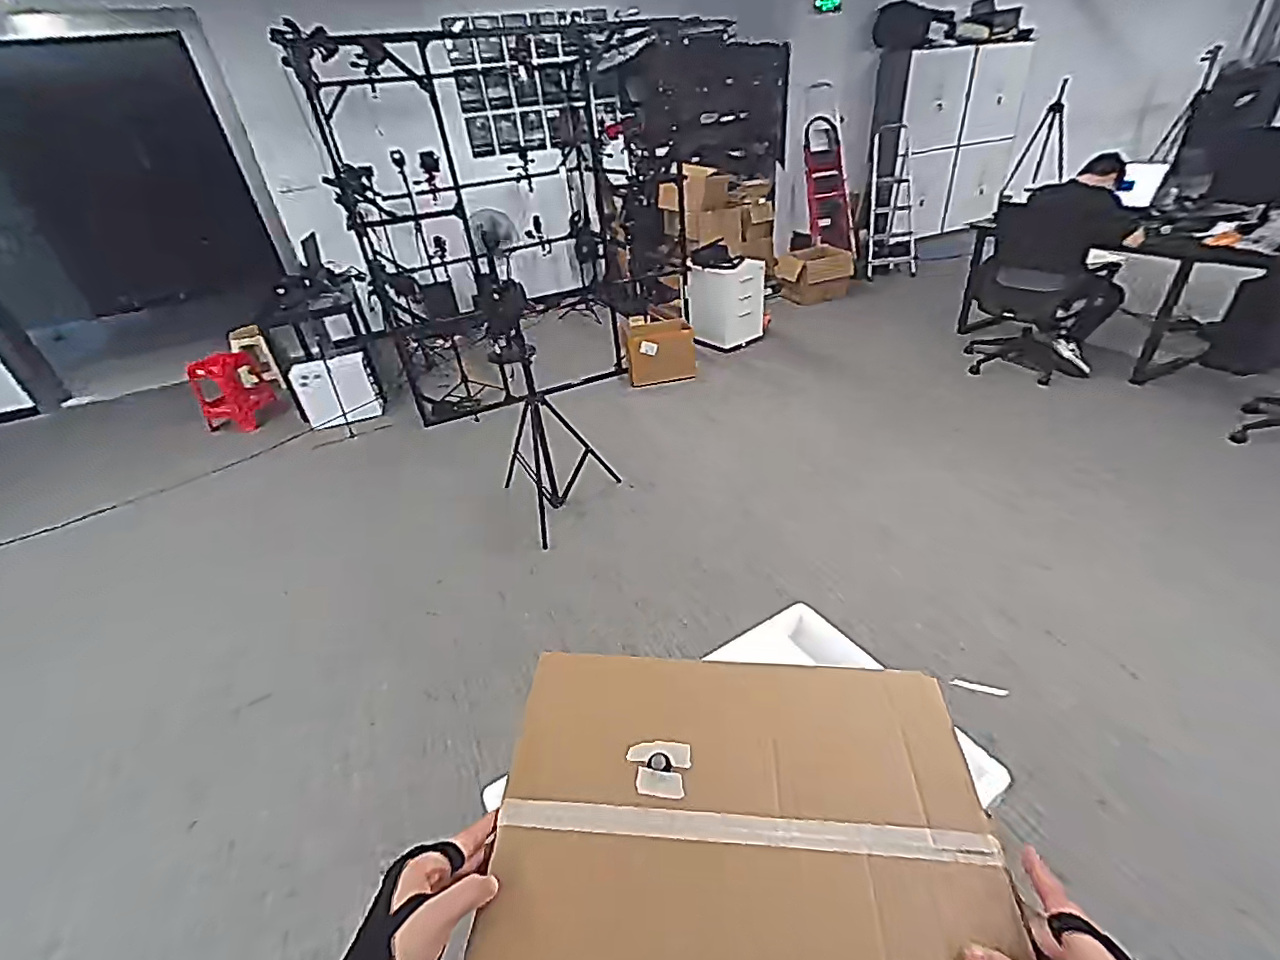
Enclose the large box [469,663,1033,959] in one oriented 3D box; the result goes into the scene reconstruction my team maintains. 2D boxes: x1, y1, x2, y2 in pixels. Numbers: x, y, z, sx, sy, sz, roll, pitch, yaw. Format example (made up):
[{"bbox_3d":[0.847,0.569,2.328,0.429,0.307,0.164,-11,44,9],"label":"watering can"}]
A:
[{"bbox_3d":[0.092,0.403,0.537,0.408,0.320,0.320,-1,39,7],"label":"large box"}]
